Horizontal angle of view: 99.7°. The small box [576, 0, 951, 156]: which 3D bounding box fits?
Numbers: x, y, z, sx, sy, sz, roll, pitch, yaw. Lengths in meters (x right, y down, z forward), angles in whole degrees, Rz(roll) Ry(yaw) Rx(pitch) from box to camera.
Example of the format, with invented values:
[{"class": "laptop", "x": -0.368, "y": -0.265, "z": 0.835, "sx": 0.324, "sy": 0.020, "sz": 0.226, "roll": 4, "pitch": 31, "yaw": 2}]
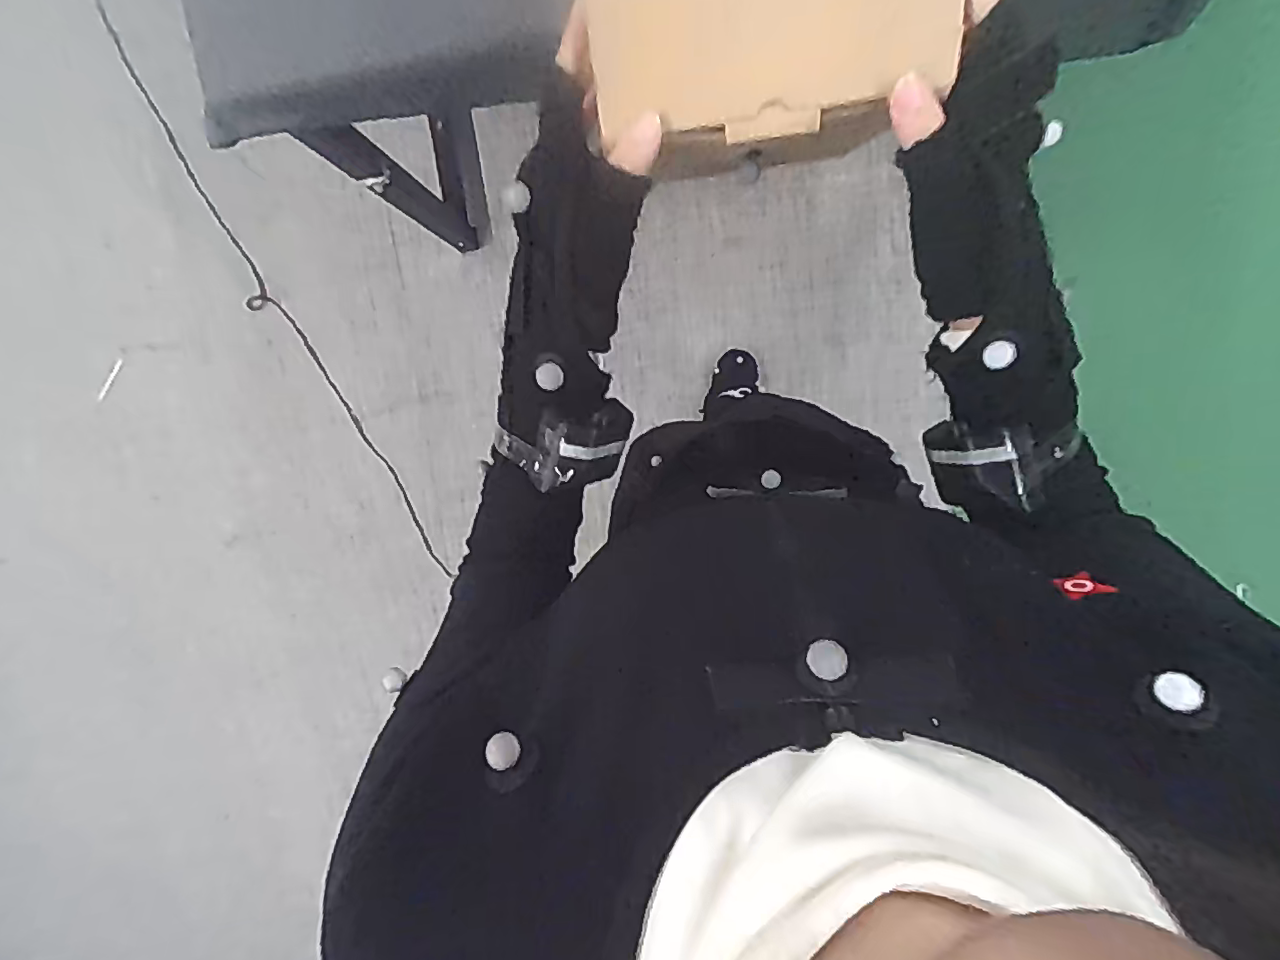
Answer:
[{"class": "small box", "x": 0.054, "y": -0.287, "z": 0.293, "sx": 0.168, "sy": 0.176, "sz": 0.179, "roll": -5, "pitch": 114, "yaw": 6}]
